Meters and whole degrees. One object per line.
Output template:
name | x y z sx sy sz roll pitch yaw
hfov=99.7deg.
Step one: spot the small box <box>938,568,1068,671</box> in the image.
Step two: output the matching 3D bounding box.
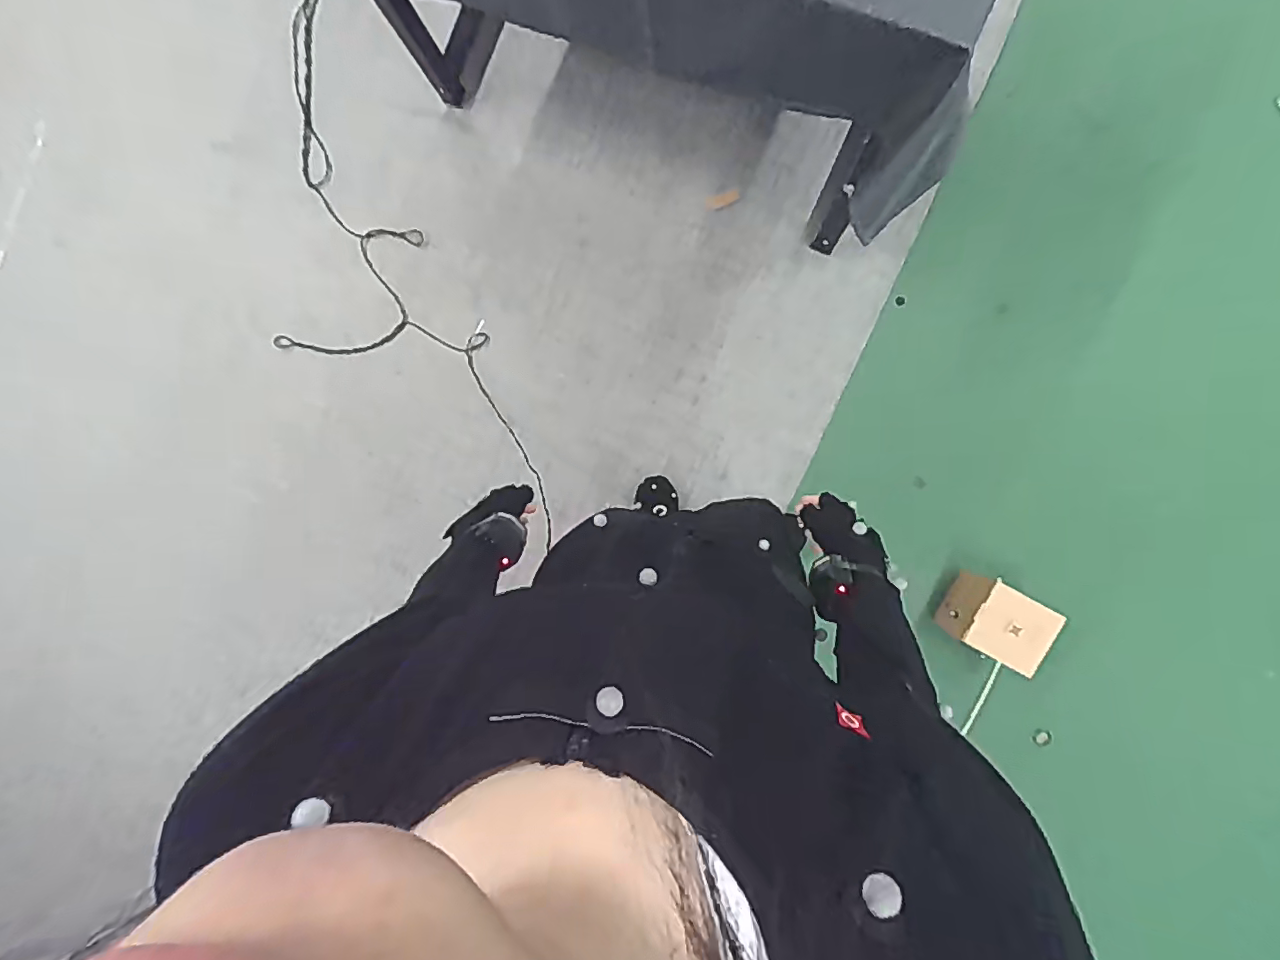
small box | 0.877 0.332 1.329 0.179 0.176 0.168 29 94 5
